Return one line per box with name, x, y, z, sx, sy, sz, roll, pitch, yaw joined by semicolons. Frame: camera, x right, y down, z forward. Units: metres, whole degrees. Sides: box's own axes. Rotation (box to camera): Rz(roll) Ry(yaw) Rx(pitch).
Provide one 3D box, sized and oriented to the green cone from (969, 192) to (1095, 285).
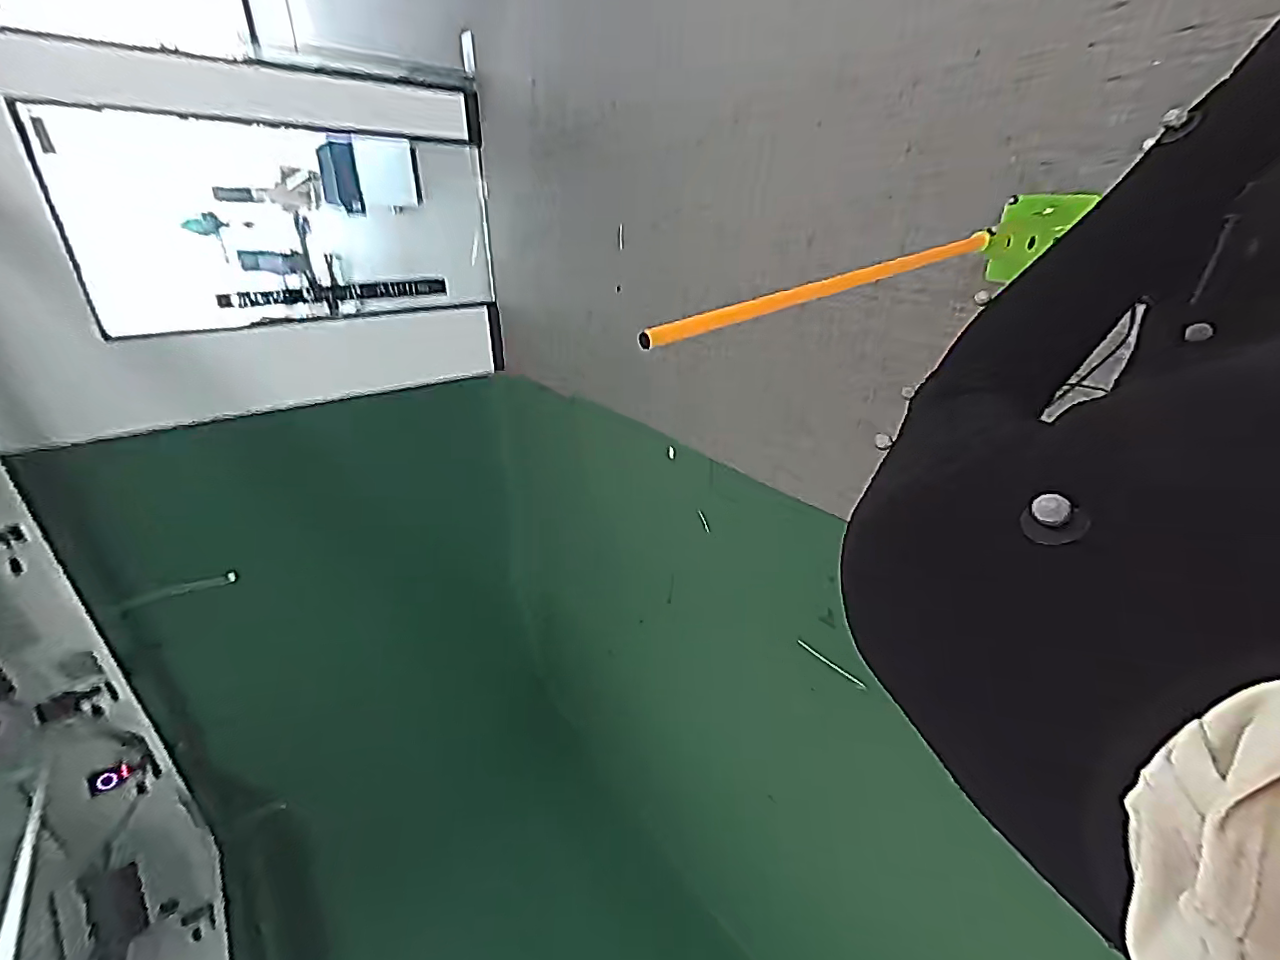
green cone;0.830;-0.541;1.221;0.202;0.368;0.200;29;128;43
